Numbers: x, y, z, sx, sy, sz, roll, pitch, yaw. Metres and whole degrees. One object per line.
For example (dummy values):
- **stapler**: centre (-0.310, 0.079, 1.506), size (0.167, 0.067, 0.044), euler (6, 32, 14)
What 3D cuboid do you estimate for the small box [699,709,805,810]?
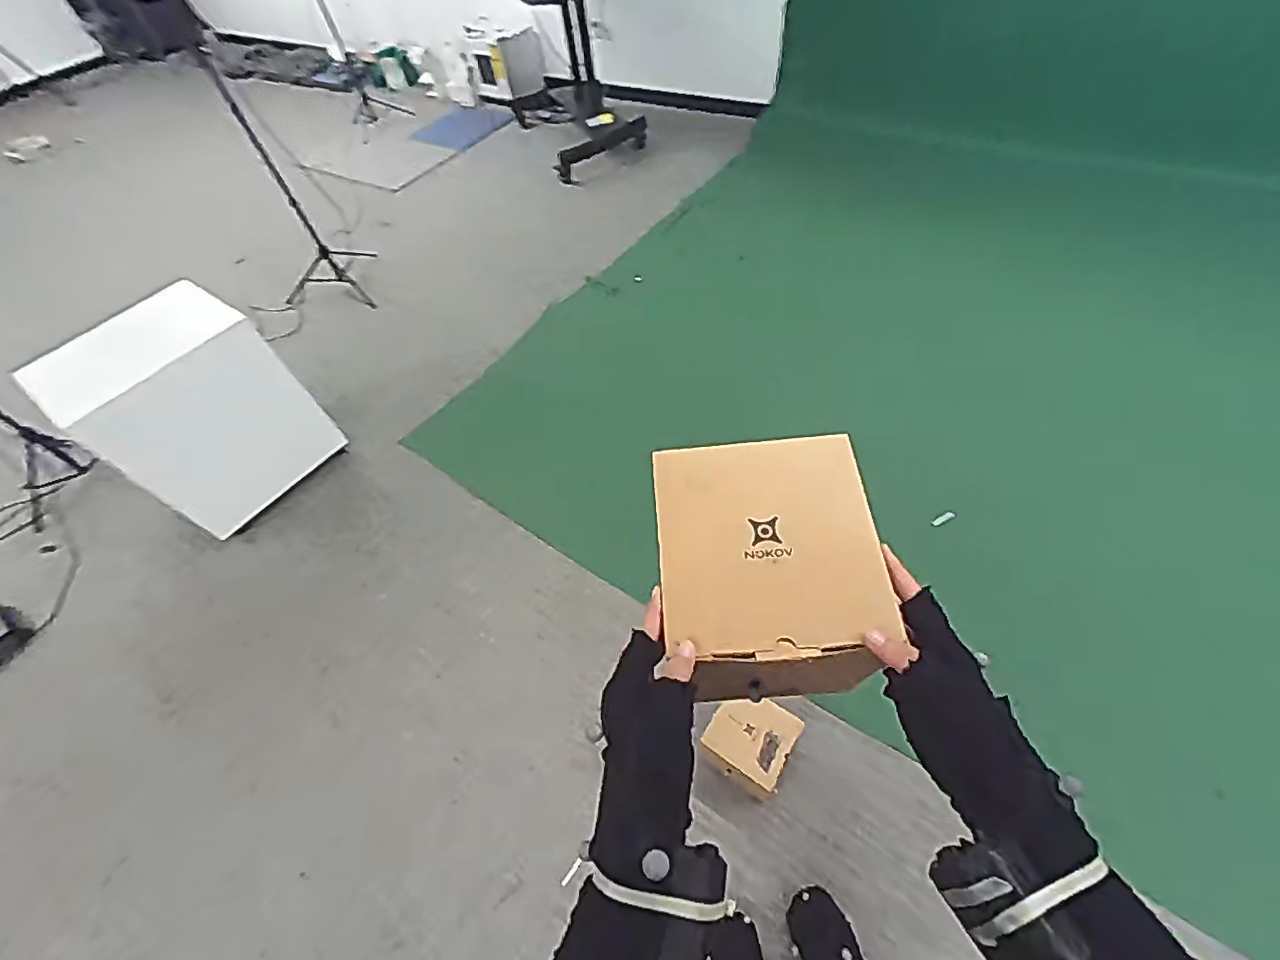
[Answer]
- **small box**: centre (0.252, 0.625, 1.238), size (0.179, 0.176, 0.168), euler (27, 60, 25)

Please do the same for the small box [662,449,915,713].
- **small box**: centre (0.108, 0.095, 0.478), size (0.168, 0.176, 0.179), euler (-5, 58, 3)
